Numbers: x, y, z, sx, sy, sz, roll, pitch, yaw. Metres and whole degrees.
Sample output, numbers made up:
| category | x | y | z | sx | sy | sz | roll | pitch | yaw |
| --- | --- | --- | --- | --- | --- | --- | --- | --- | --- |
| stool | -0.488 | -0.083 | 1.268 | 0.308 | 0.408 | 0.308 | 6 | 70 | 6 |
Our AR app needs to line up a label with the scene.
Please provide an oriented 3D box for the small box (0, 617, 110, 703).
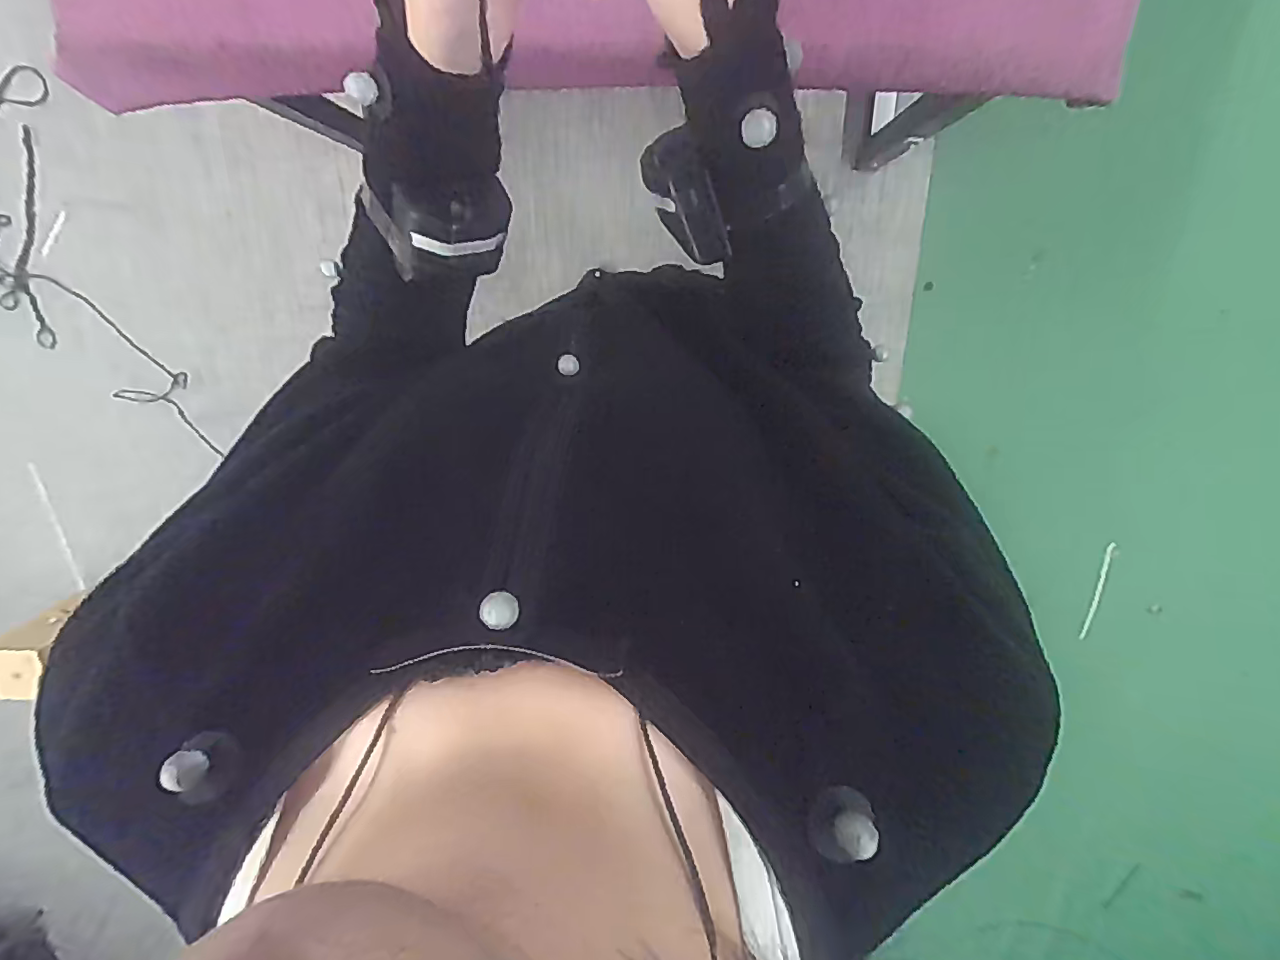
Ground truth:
| category | x | y | z | sx | sy | sz | roll | pitch | yaw |
| --- | --- | --- | --- | --- | --- | --- | --- | --- | --- |
| small box | -1.686 | 0.506 | 1.537 | 0.179 | 0.176 | 0.168 | 2 | 109 | 3 |

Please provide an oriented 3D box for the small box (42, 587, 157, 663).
| category | x | y | z | sx | sy | sz | roll | pitch | yaw |
| --- | --- | --- | --- | --- | --- | --- | --- | --- | --- |
| small box | -1.678 | 0.448 | 1.690 | 0.168 | 0.176 | 0.179 | 0 | 109 | 4 |
